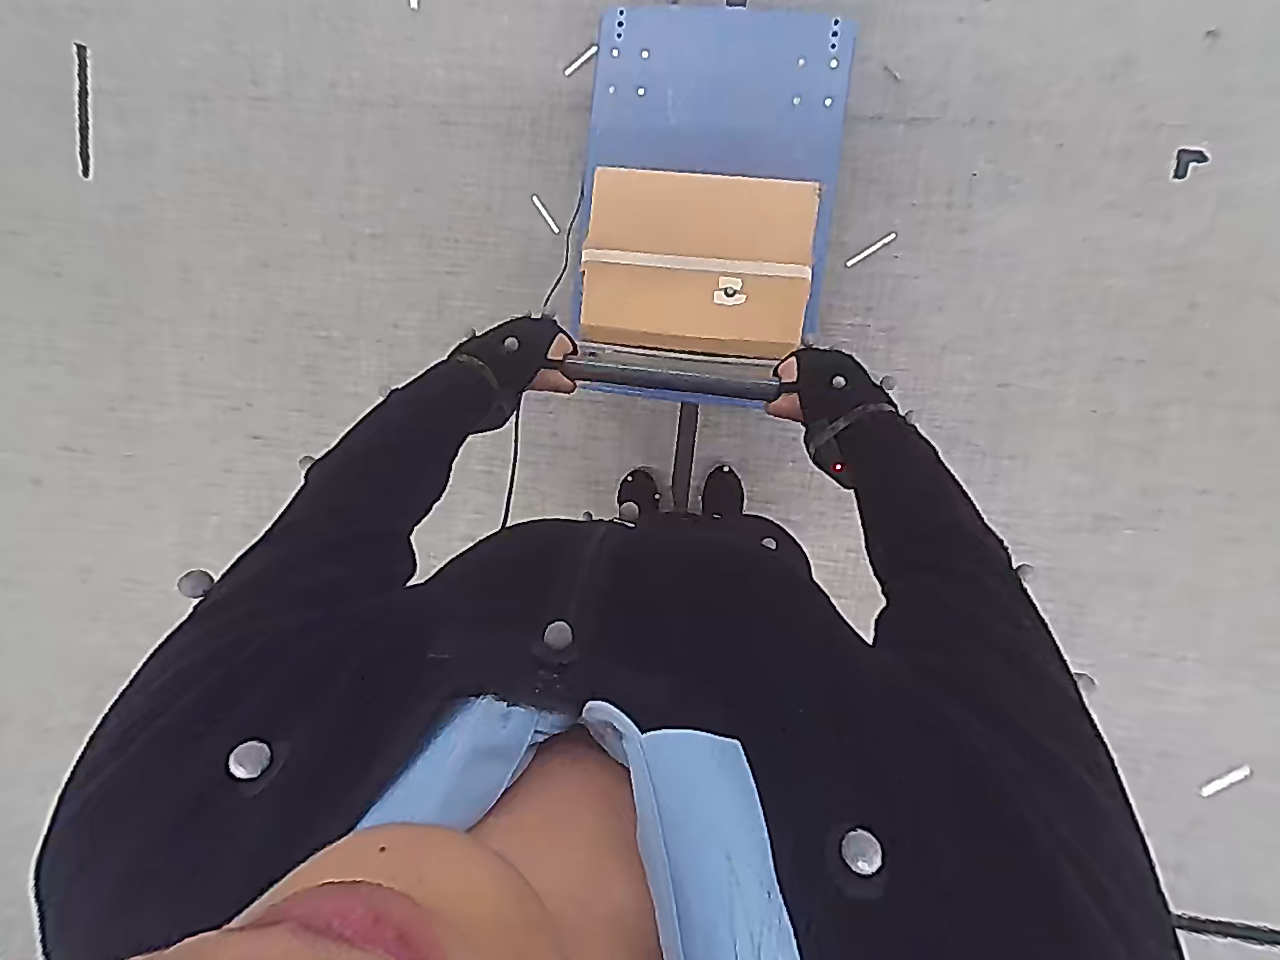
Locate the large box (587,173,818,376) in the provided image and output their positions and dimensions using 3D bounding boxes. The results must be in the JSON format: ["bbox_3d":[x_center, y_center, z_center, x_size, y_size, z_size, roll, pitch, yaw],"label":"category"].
[{"bbox_3d":[0.119,-0.406,1.141,0.408,0.320,0.320,6,96,4],"label":"large box"}]
